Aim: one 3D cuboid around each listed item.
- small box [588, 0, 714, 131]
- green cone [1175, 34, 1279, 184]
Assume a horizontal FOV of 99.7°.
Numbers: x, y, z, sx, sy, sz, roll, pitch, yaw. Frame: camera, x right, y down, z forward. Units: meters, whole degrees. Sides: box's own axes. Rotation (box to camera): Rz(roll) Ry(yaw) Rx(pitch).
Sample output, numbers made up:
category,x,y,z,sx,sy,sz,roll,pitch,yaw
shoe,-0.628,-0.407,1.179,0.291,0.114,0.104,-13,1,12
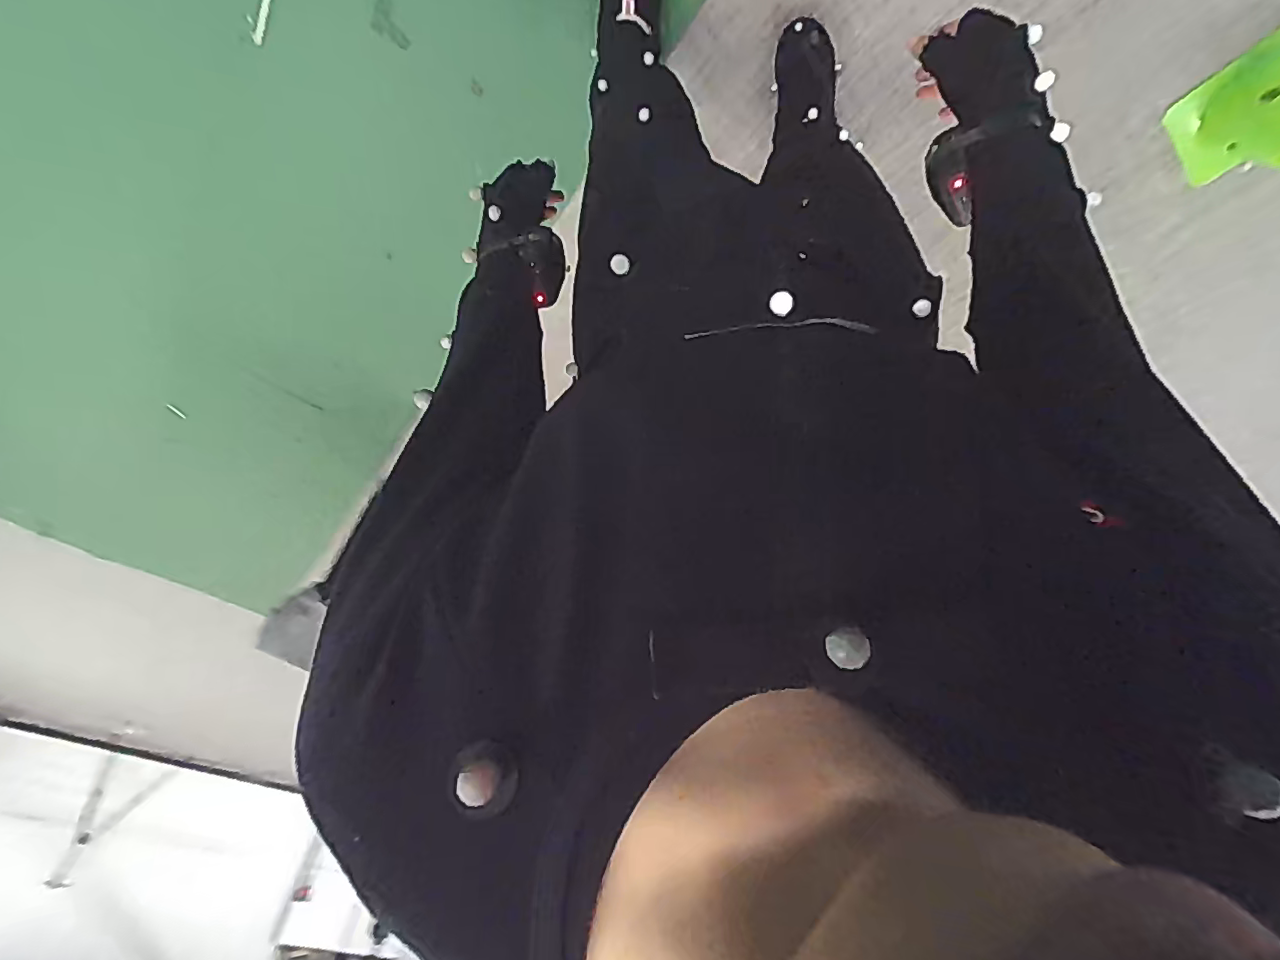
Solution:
category,x,y,z,sx,sy,sz,roll,pitch,yaw
small box,0.011,-0.798,0.986,0.168,0.176,0.179,9,146,-26
green cone,1.096,-0.545,0.864,0.202,0.368,0.200,31,135,-24
